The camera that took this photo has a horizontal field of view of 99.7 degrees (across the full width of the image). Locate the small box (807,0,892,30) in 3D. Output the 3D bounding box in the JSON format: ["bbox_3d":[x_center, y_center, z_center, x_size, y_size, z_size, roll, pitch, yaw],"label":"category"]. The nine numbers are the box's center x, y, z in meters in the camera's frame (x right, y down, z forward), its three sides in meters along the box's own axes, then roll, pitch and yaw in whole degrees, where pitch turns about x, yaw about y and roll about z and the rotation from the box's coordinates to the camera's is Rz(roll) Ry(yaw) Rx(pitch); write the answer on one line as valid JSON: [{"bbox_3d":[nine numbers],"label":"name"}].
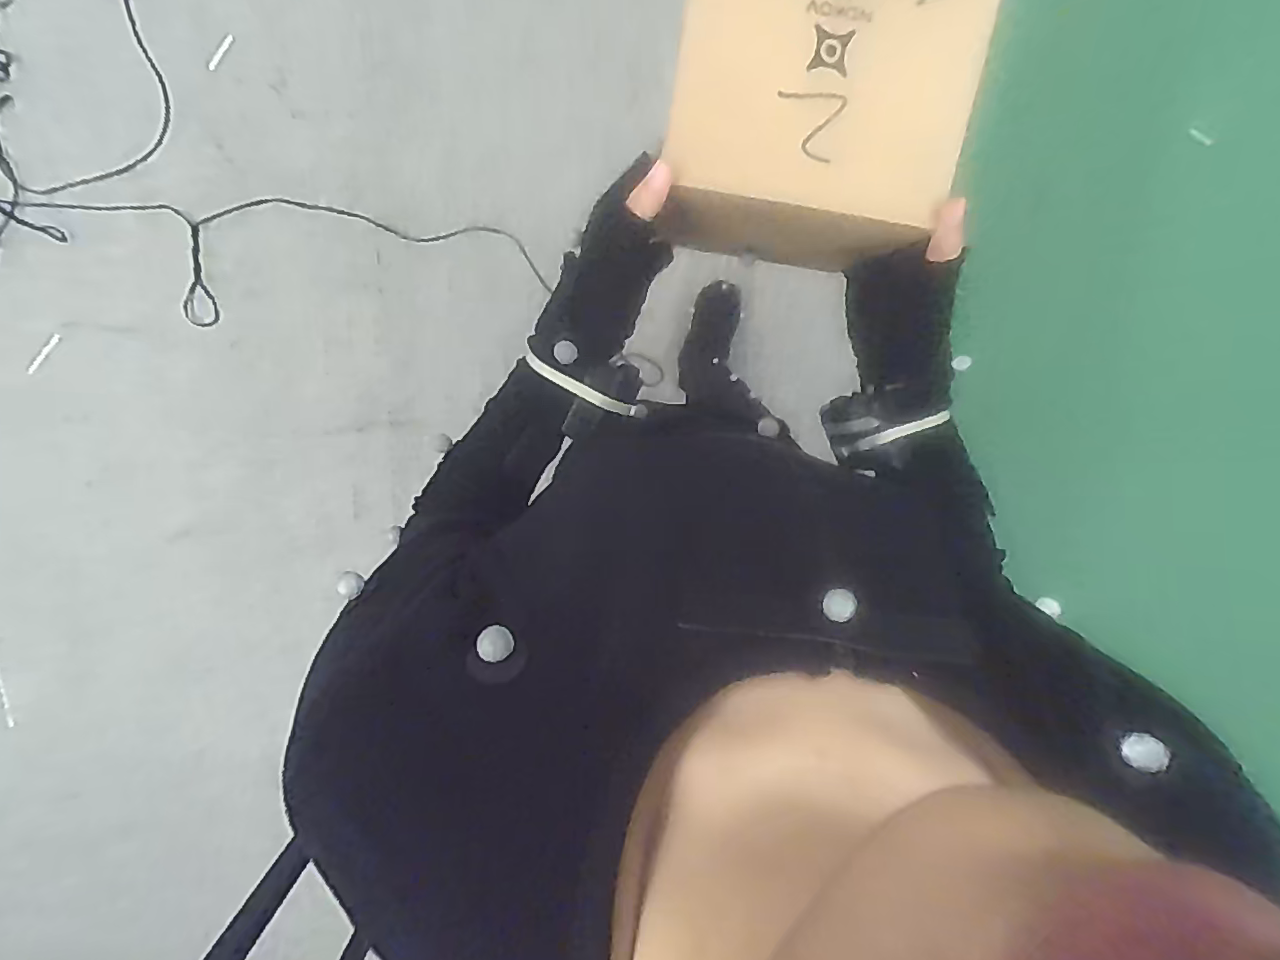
[{"bbox_3d":[0.471,-1.119,1.168,0.168,0.176,0.179,2,102,-2],"label":"small box"}]
